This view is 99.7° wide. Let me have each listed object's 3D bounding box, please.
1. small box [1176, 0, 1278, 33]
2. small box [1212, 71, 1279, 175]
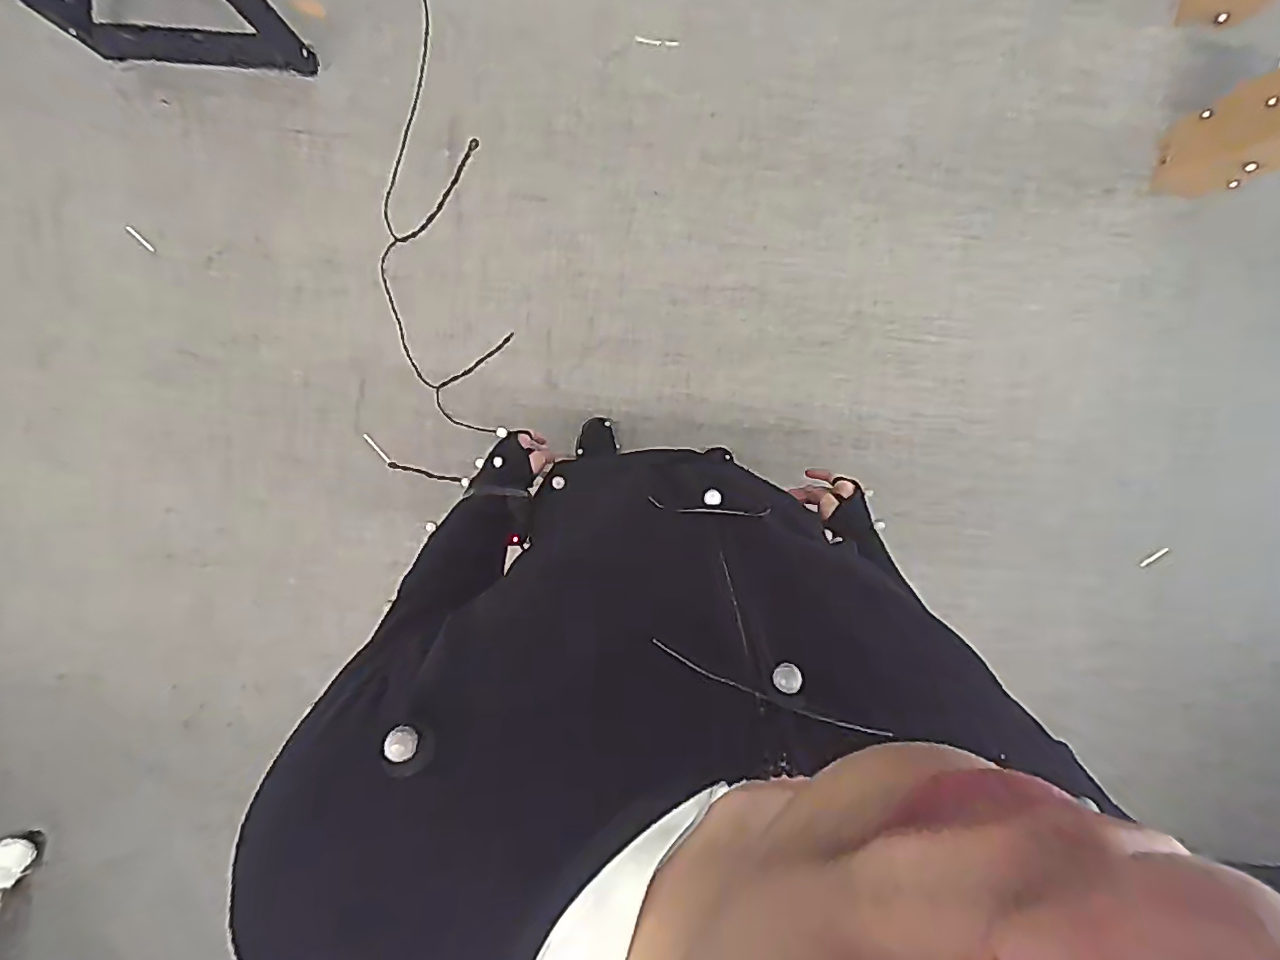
[{"bbox_3d":[1.579,-1.337,1.421,0.168,0.176,0.179,5,97,-1],"label":"small box"},{"bbox_3d":[1.557,-0.875,1.307,0.168,0.176,0.179,7,97,-1],"label":"small box"}]
